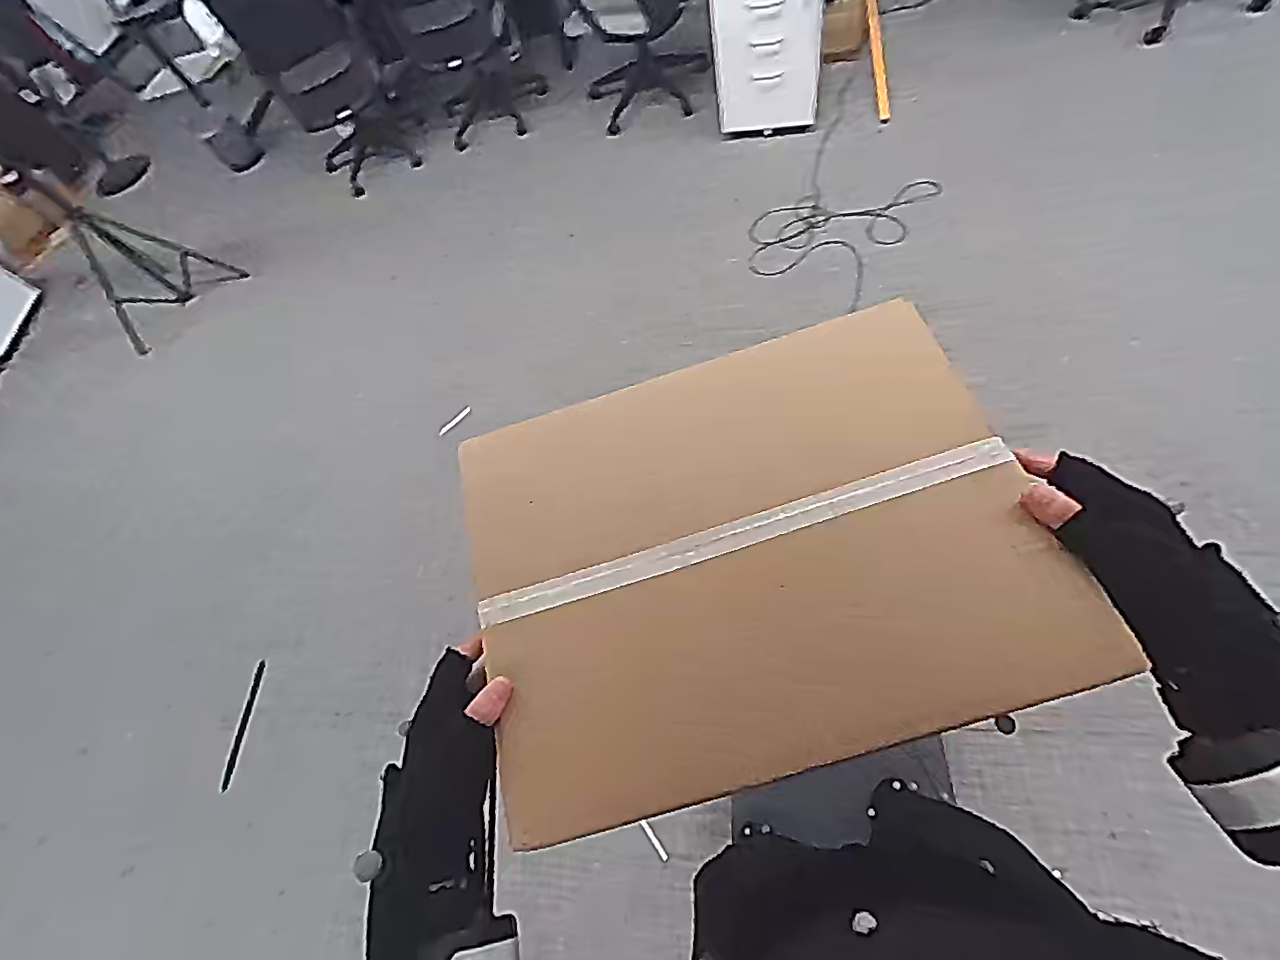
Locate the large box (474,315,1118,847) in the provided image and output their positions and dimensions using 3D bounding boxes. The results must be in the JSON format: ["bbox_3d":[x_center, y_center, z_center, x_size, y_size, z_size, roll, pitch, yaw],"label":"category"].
[{"bbox_3d":[0.103,0.106,0.543,0.408,0.320,0.320,-17,64,2],"label":"large box"}]
